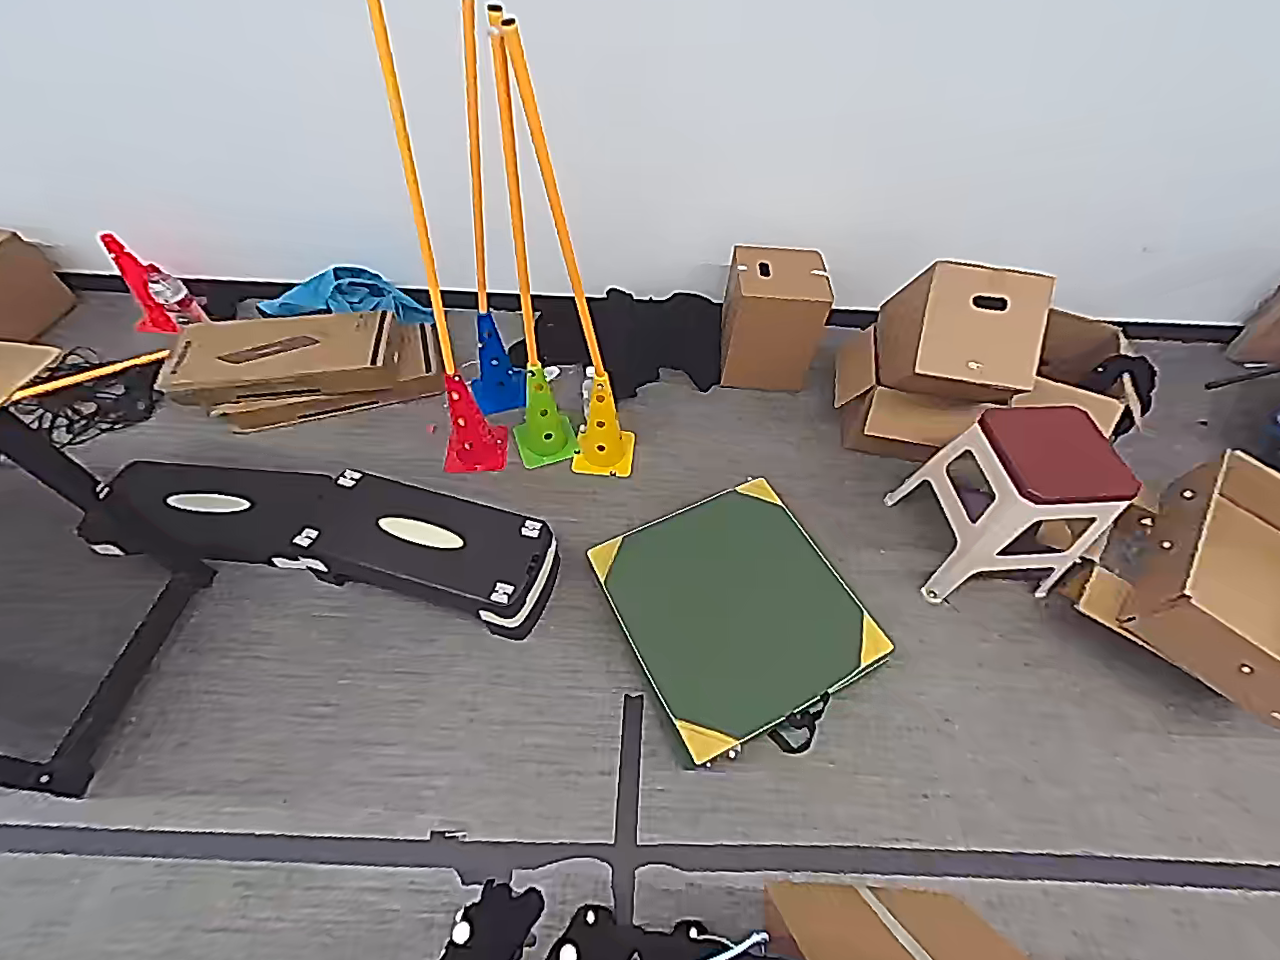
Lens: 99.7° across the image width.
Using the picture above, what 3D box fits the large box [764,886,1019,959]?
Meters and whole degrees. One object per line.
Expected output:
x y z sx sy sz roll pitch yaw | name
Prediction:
0.348 0.762 0.638 0.320 0.408 0.320 4 77 -2 | large box
